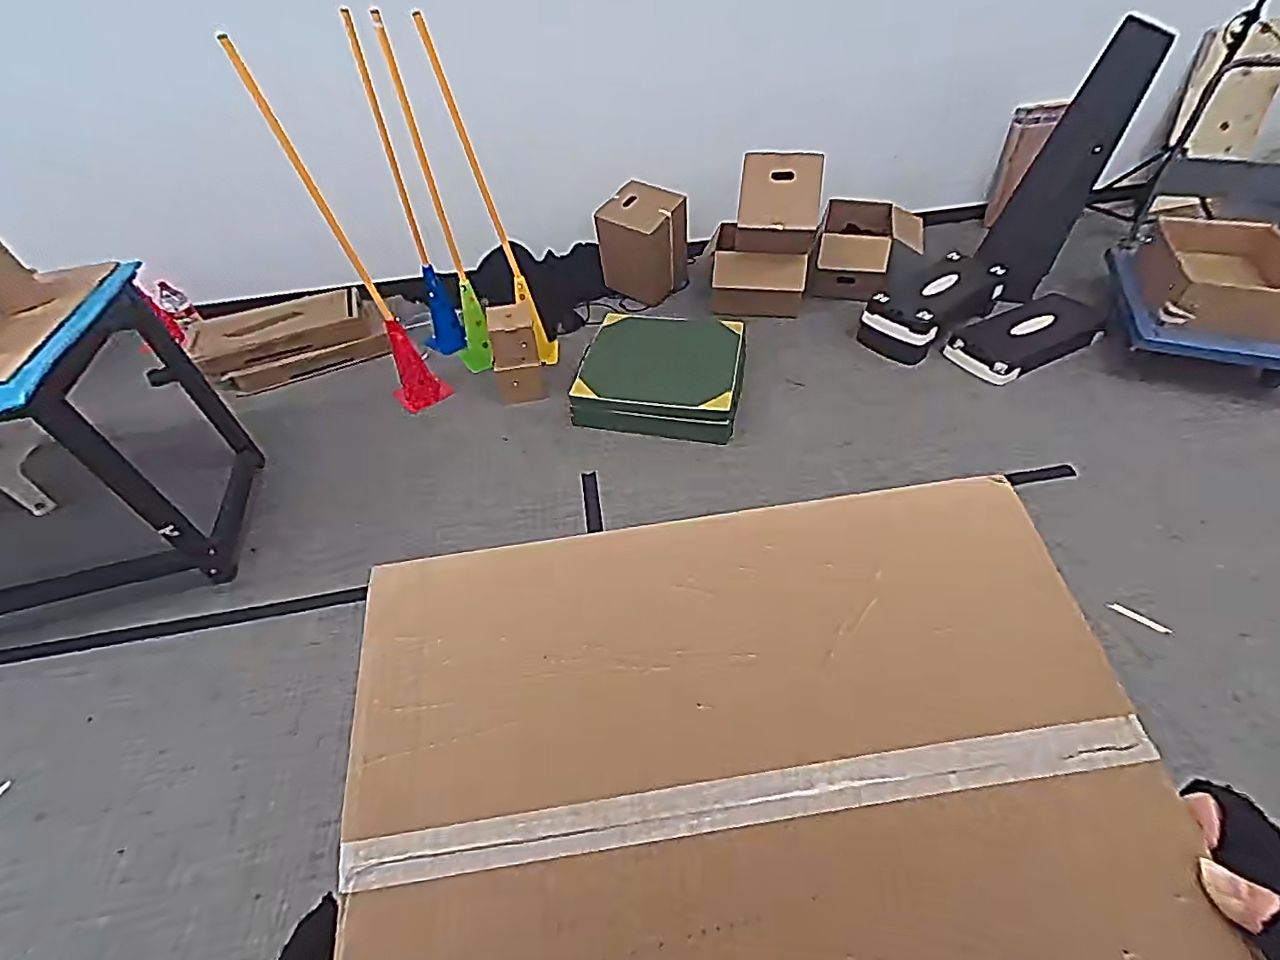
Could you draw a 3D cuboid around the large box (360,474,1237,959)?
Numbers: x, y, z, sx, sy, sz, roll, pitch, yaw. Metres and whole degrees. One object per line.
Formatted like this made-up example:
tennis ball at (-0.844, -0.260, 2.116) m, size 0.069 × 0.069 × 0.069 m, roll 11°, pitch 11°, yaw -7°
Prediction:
large box at (0.063, 0.230, 0.415) m, size 0.408 × 0.320 × 0.320 m, roll -9°, pitch 62°, yaw -1°
